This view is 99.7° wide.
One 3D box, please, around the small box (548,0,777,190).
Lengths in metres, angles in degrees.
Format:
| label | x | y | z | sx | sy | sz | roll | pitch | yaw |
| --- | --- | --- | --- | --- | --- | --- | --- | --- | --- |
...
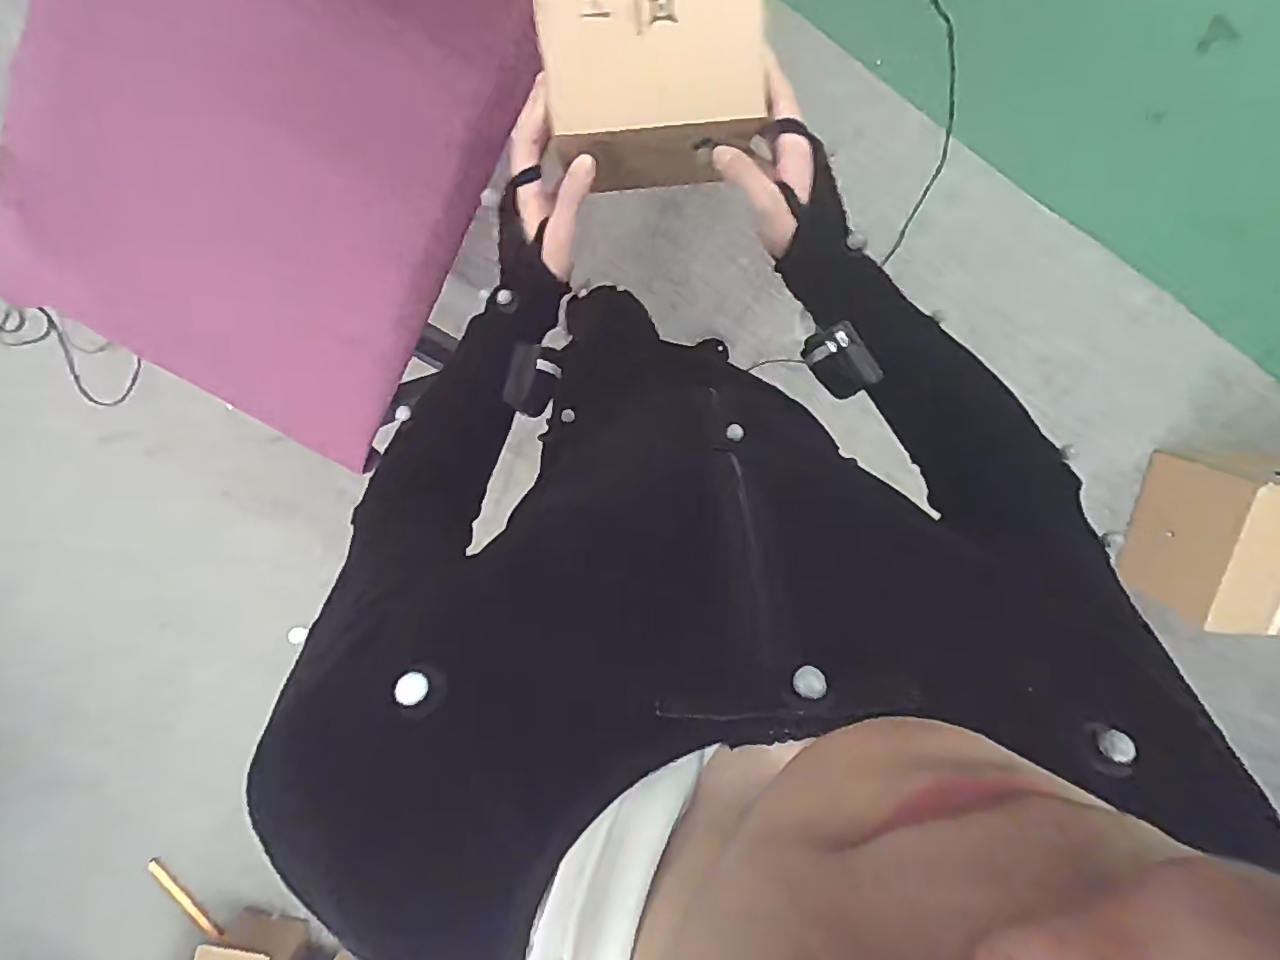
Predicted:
| label | x | y | z | sx | sy | sz | roll | pitch | yaw |
| --- | --- | --- | --- | --- | --- | --- | --- | --- | --- |
| small box | 0.013 | -0.380 | 0.490 | 0.179 | 0.176 | 0.168 | -6 | 103 | -1 |

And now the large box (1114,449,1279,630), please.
| label | x | y | z | sx | sy | sz | roll | pitch | yaw |
| --- | --- | --- | --- | --- | --- | --- | --- | --- | --- |
| large box | 1.595 | 0.149 | 1.460 | 0.320 | 0.320 | 0.408 | 1 | 108 | 3 |
